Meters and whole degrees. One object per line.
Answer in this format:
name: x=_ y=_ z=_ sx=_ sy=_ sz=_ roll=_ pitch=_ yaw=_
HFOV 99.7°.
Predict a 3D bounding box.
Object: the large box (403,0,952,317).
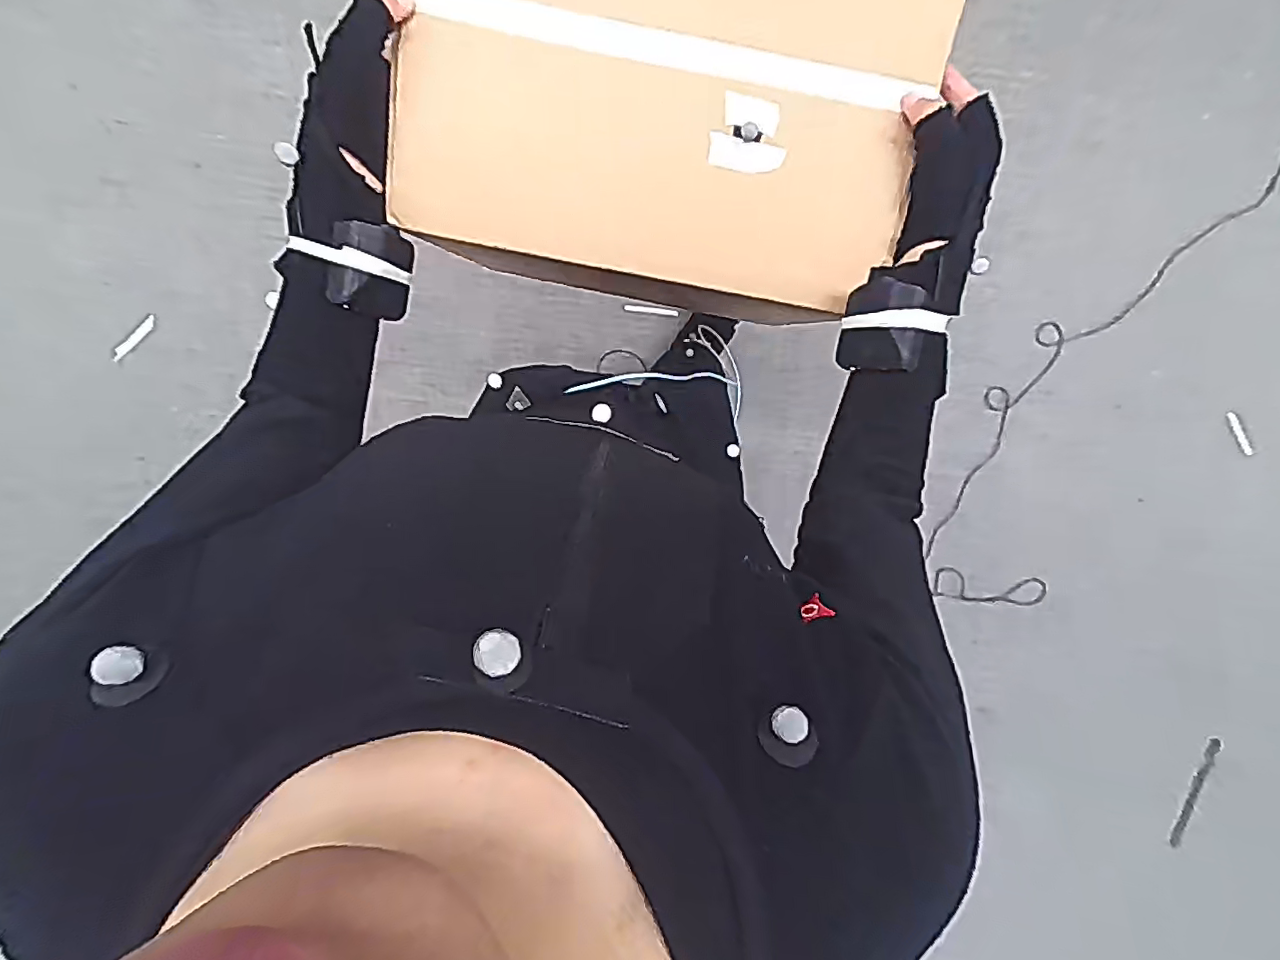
large box: x=0.021 y=-0.360 z=0.554 sx=0.408 sy=0.320 sz=0.320 roll=9 pitch=105 yaw=-4
